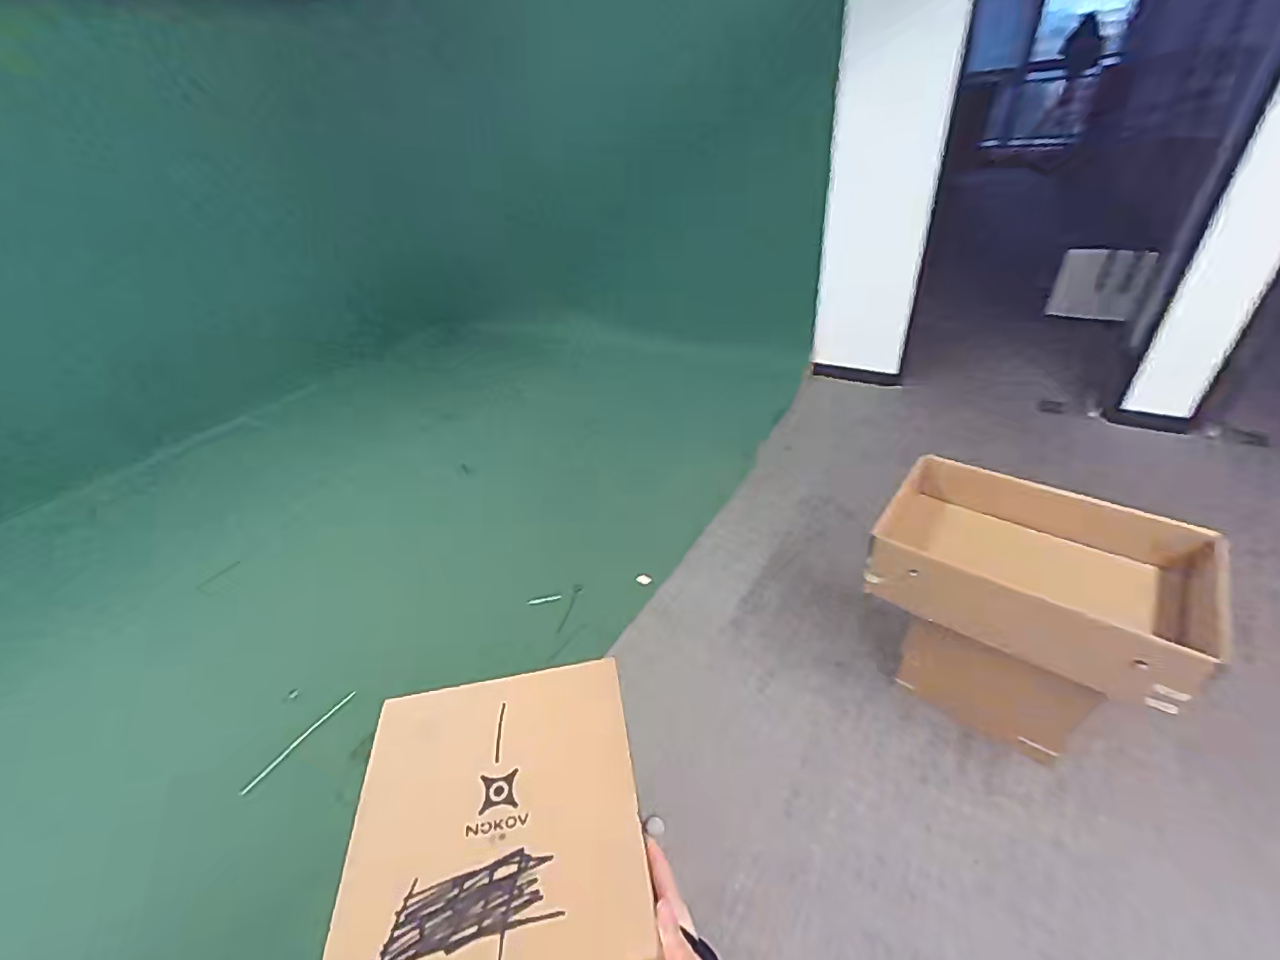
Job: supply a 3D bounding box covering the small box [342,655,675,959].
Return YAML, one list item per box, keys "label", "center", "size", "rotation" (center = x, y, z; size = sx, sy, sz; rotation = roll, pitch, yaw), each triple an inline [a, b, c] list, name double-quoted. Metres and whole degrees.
- label: "small box"
  center: [-0.070, 0.254, 0.369]
  size: [0.168, 0.176, 0.179]
  rotation: [-8, 36, -5]
